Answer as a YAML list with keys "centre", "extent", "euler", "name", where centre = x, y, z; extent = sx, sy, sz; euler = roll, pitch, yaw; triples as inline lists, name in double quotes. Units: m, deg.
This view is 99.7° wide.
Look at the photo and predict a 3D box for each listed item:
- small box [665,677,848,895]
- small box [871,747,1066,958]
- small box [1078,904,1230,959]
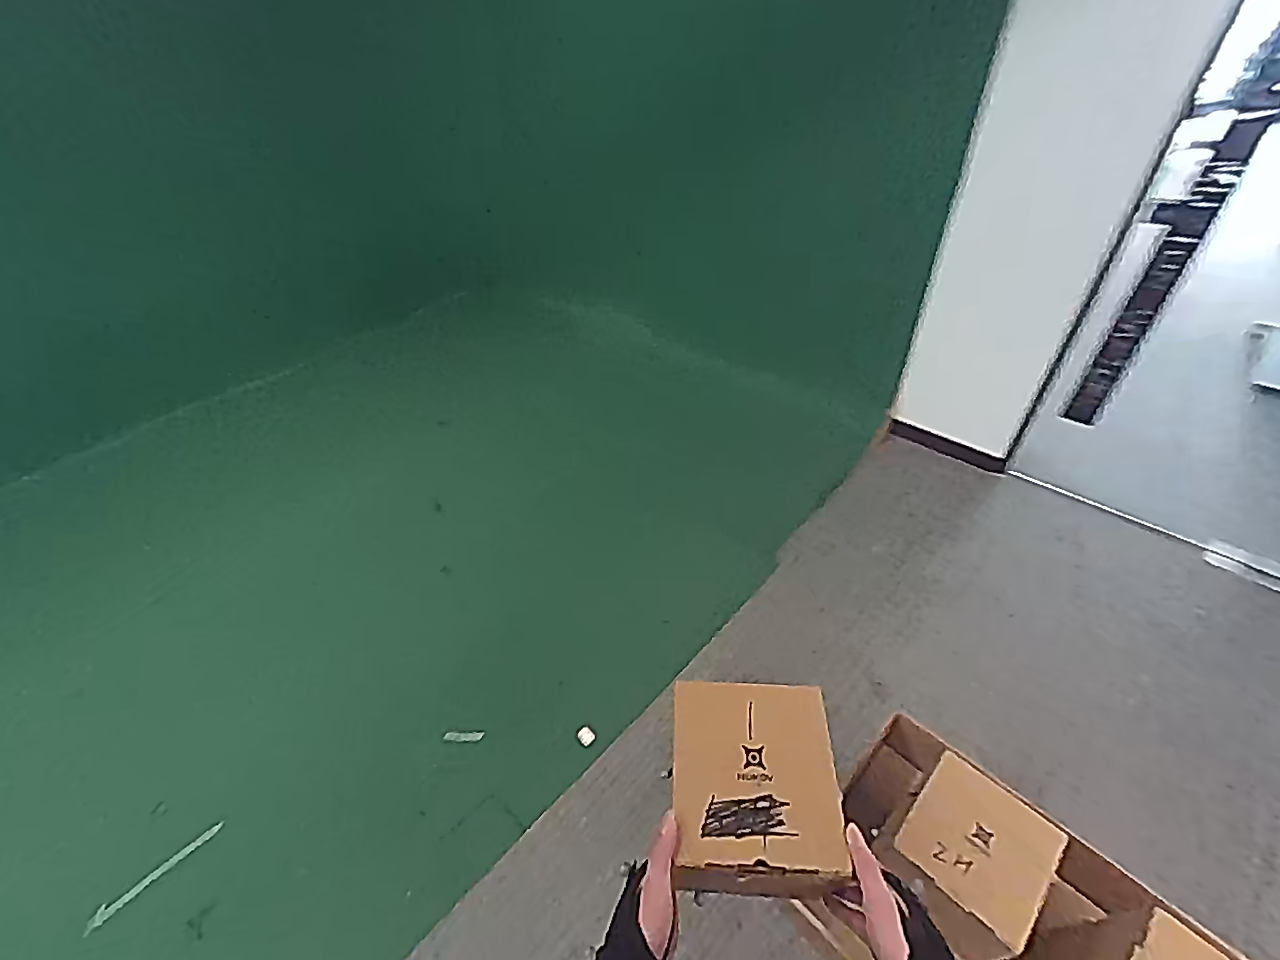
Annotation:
- centre: [0.114, 0.341, 0.602]
  extent: [0.168, 0.176, 0.179]
  euler: [2, 46, 3]
  name: "small box"
- centre: [0.465, 0.541, 0.790]
  extent: [0.179, 0.176, 0.168]
  euler: [-36, 52, -27]
  name: "small box"
- centre: [0.646, 0.668, 0.649]
  extent: [0.168, 0.176, 0.179]
  euler: [-36, 53, -25]
  name: "small box"
